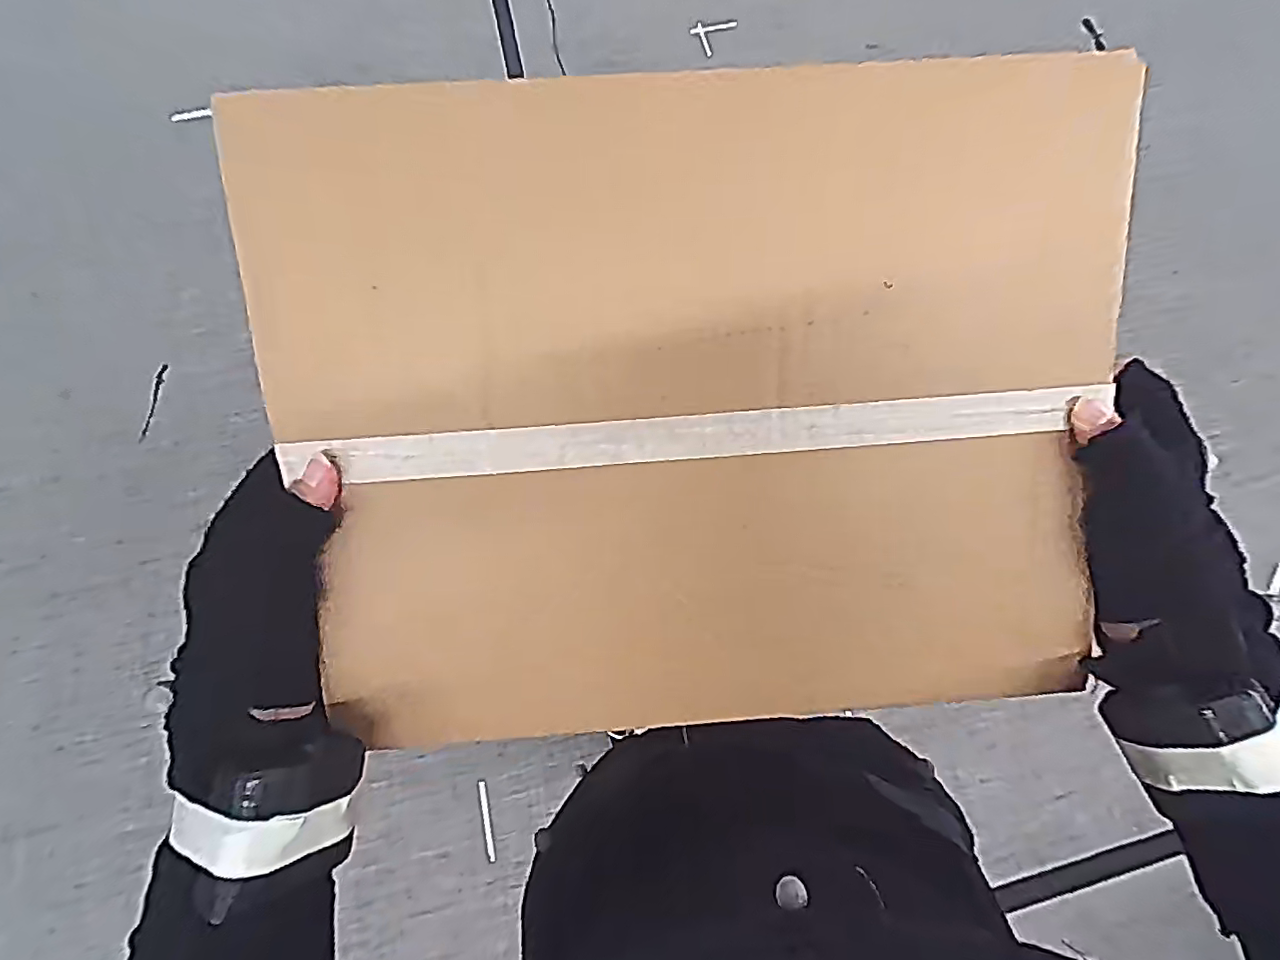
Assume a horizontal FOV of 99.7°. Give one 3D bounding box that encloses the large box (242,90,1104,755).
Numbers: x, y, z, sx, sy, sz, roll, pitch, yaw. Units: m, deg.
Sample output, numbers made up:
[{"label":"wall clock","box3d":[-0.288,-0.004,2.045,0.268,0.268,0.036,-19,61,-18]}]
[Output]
[{"label":"large box","box3d":[0.025,-0.043,0.421,0.408,0.320,0.320,-5,101,-2]}]
